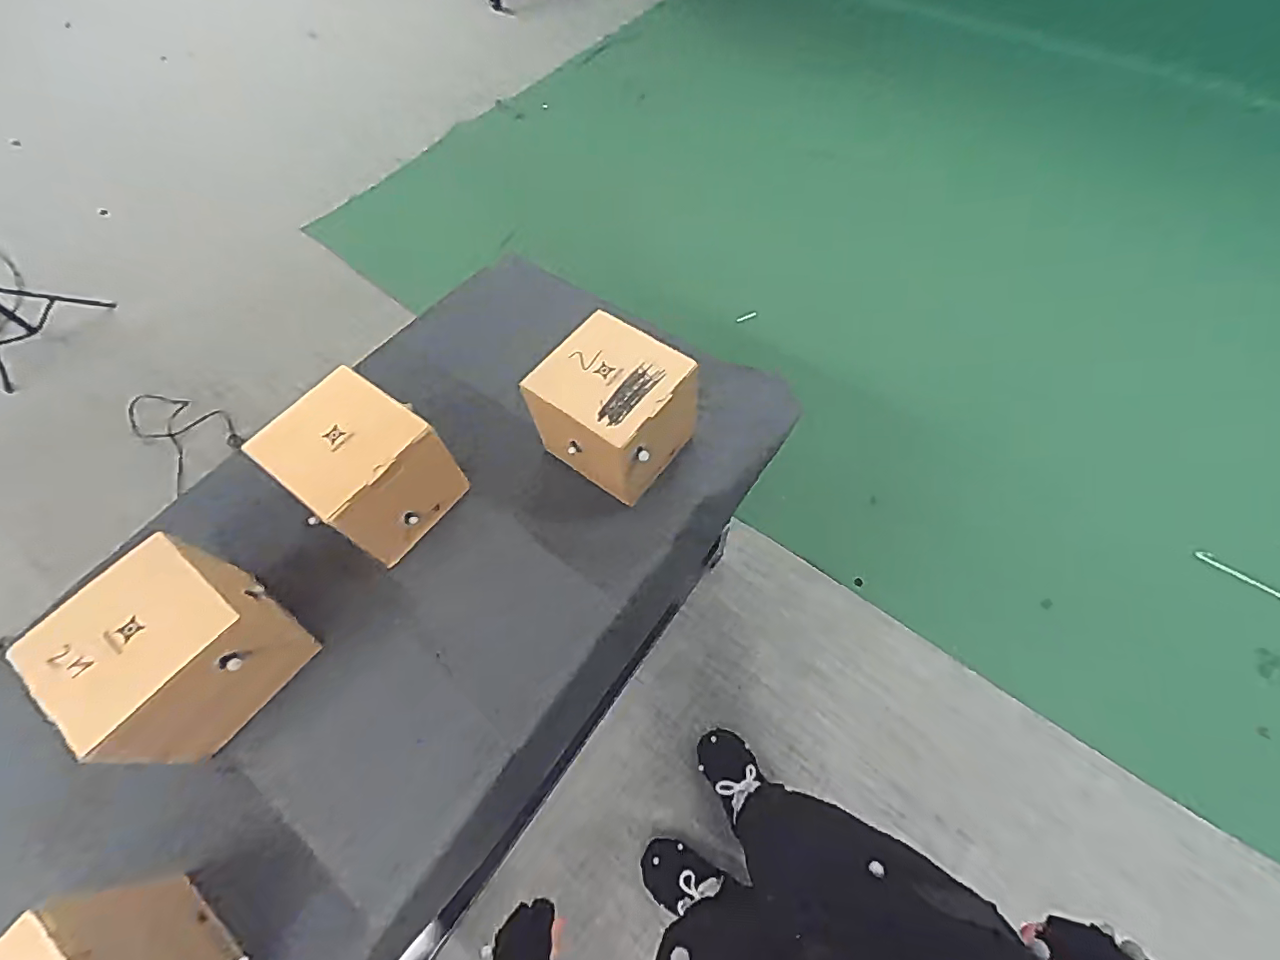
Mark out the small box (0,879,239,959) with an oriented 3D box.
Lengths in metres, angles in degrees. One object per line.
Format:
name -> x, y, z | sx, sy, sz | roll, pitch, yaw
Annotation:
small box -> -0.495, 0.498, 0.475 | 0.168, 0.176, 0.179 | 33, 68, 18

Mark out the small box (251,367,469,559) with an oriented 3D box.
small box -> -0.373, -0.016, 0.753 | 0.179, 0.176, 0.168 | 33, 67, 17

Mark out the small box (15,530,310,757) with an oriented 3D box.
small box -> -0.533, 0.197, 0.638 | 0.168, 0.176, 0.179 | 35, 68, 18
